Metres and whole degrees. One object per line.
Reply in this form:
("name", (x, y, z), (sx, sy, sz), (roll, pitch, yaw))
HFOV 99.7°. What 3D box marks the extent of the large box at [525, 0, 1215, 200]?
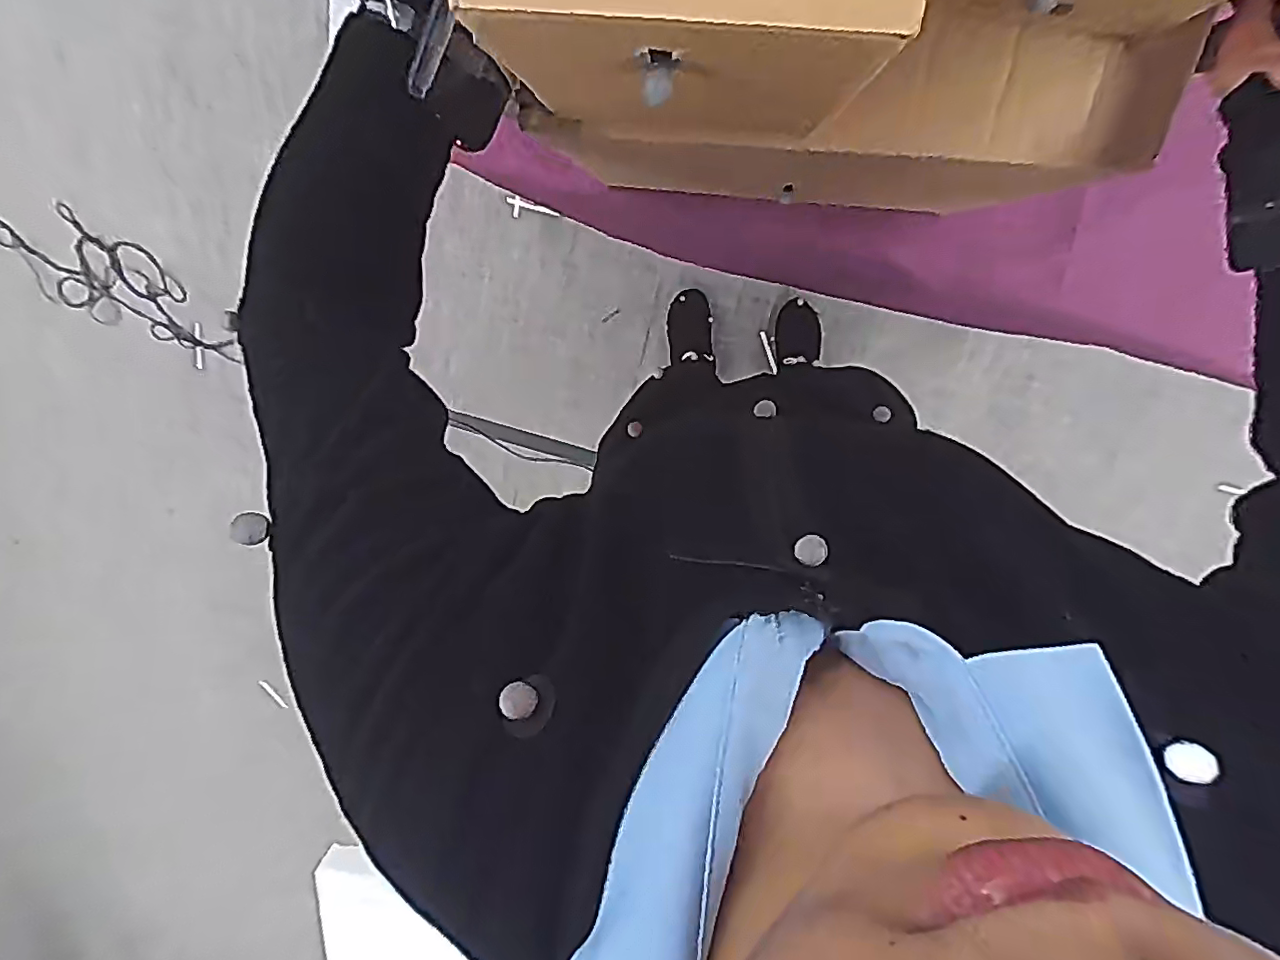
("large box", (0.150, -0.413, 0.428), (0.408, 0.320, 0.320), (7, 111, 6))
